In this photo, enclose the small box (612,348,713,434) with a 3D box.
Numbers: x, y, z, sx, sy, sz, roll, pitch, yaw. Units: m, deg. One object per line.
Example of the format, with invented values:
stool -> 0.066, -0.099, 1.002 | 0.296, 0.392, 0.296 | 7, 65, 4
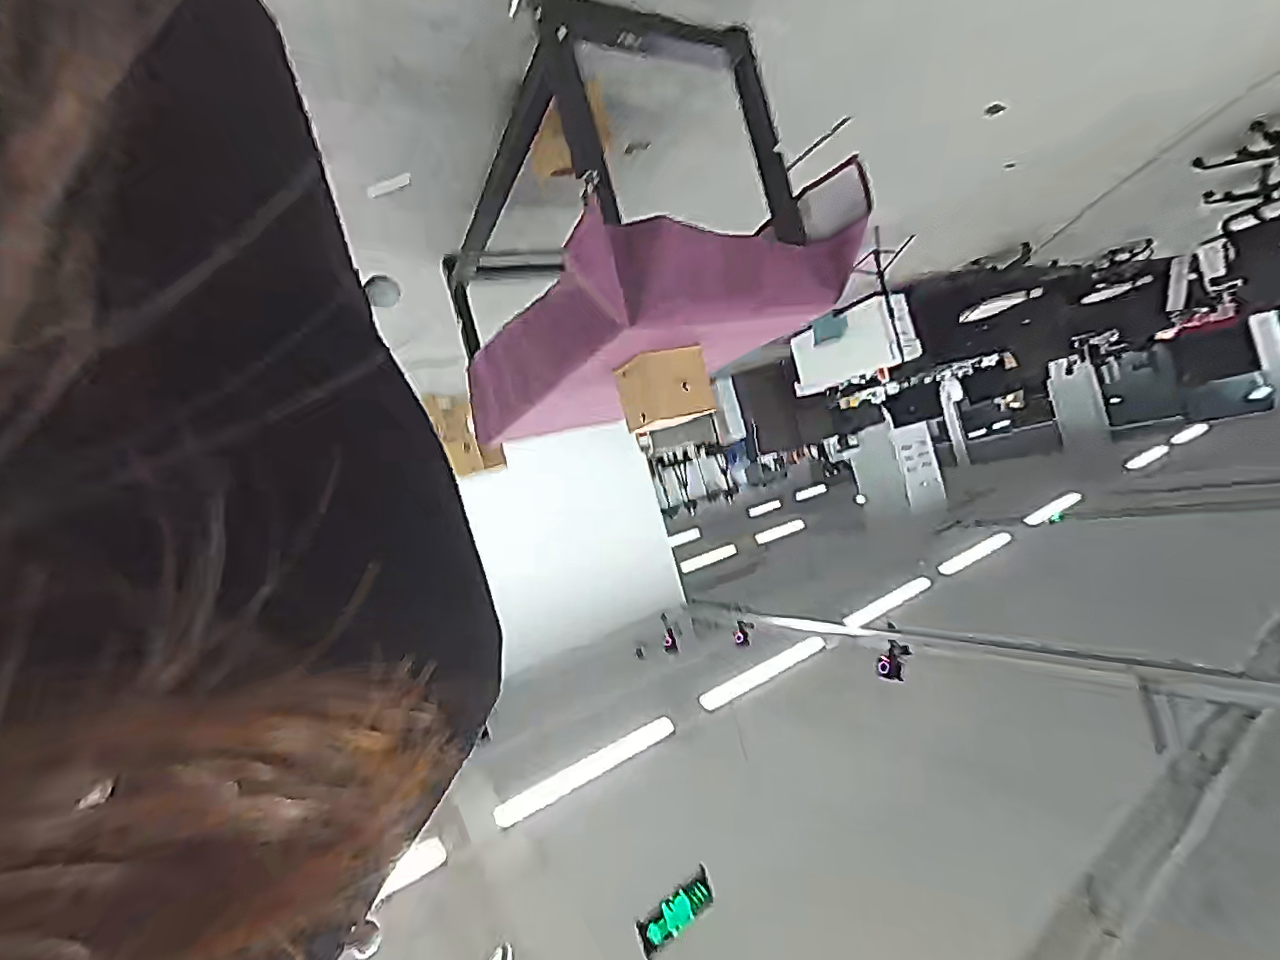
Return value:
small box -> 0.054, -0.230, 1.383 | 0.179, 0.176, 0.168 | -16, 180, -28
